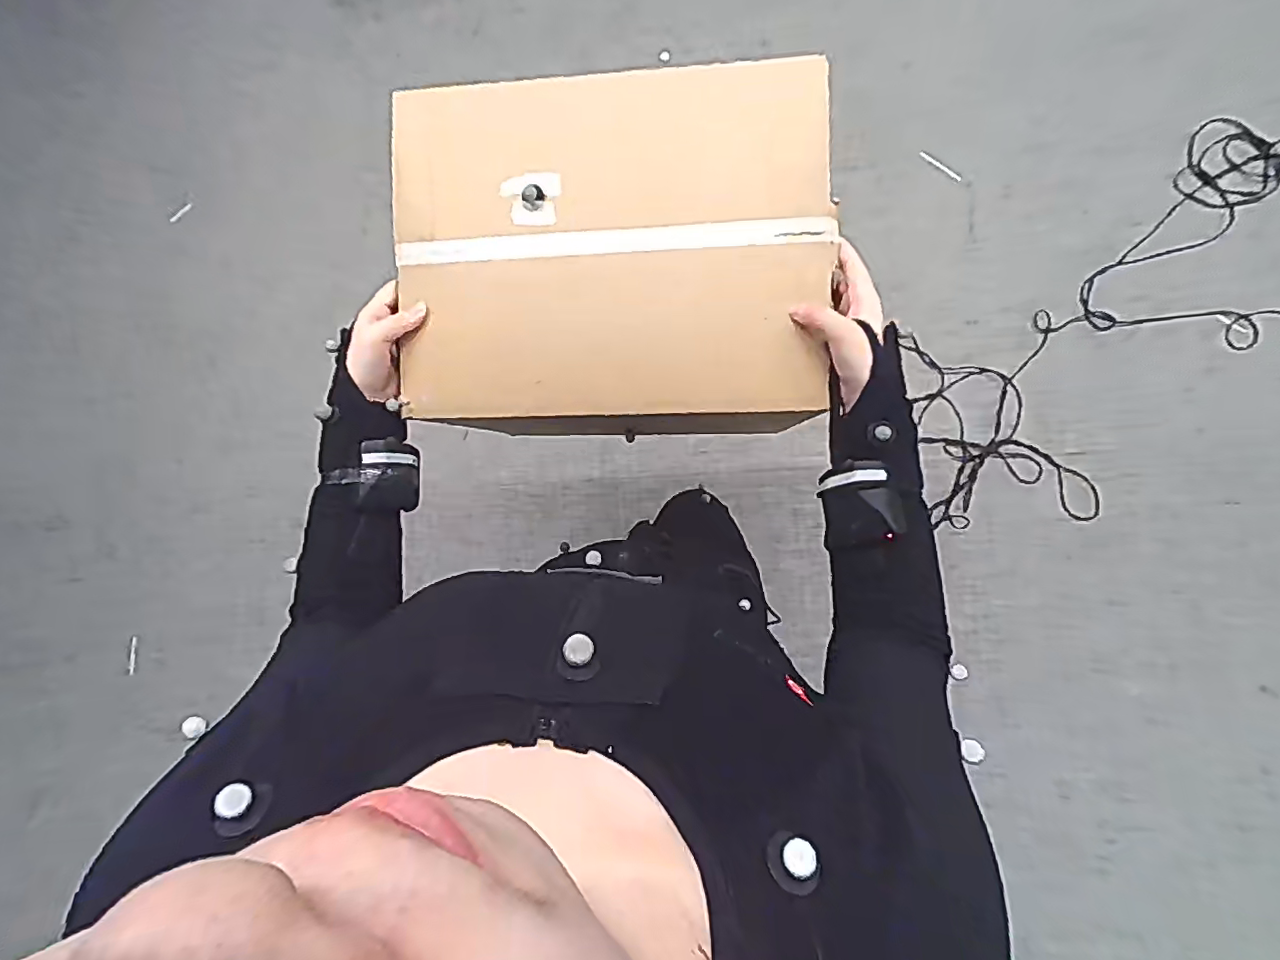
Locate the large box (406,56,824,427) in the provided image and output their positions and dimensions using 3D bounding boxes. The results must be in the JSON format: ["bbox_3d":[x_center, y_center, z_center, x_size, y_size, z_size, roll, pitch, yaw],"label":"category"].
[{"bbox_3d":[-0.011,-0.229,0.660,0.408,0.320,0.320,0,91,8],"label":"large box"}]
